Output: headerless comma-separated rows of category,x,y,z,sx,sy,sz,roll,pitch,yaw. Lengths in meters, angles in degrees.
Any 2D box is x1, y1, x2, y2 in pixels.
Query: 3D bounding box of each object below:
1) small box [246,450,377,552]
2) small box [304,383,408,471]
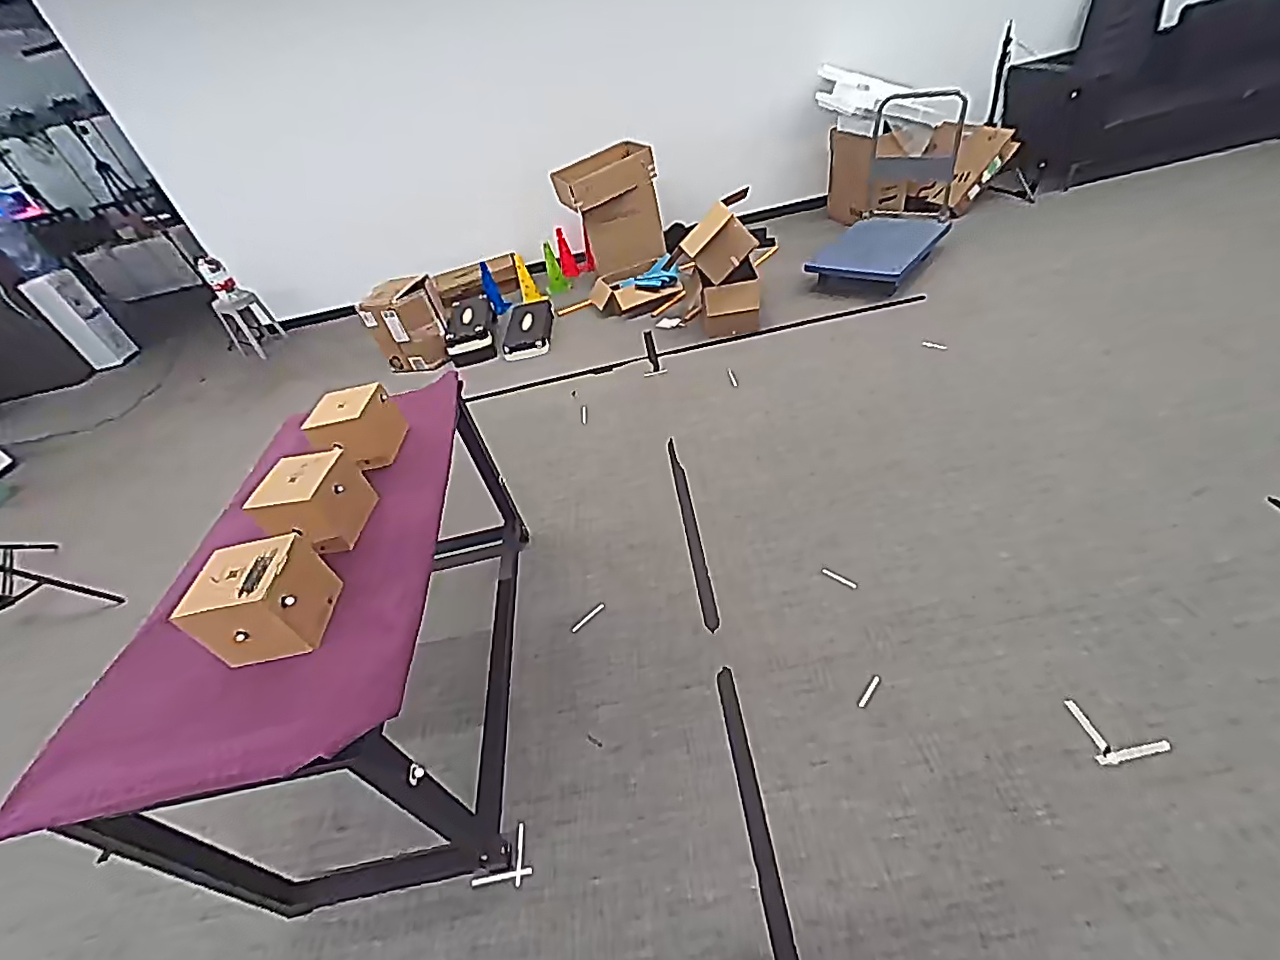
small box,-0.751,0.055,1.263,0.168,0.176,0.179,-7,40,8
small box,-0.771,-0.137,1.491,0.168,0.176,0.179,-11,40,6
